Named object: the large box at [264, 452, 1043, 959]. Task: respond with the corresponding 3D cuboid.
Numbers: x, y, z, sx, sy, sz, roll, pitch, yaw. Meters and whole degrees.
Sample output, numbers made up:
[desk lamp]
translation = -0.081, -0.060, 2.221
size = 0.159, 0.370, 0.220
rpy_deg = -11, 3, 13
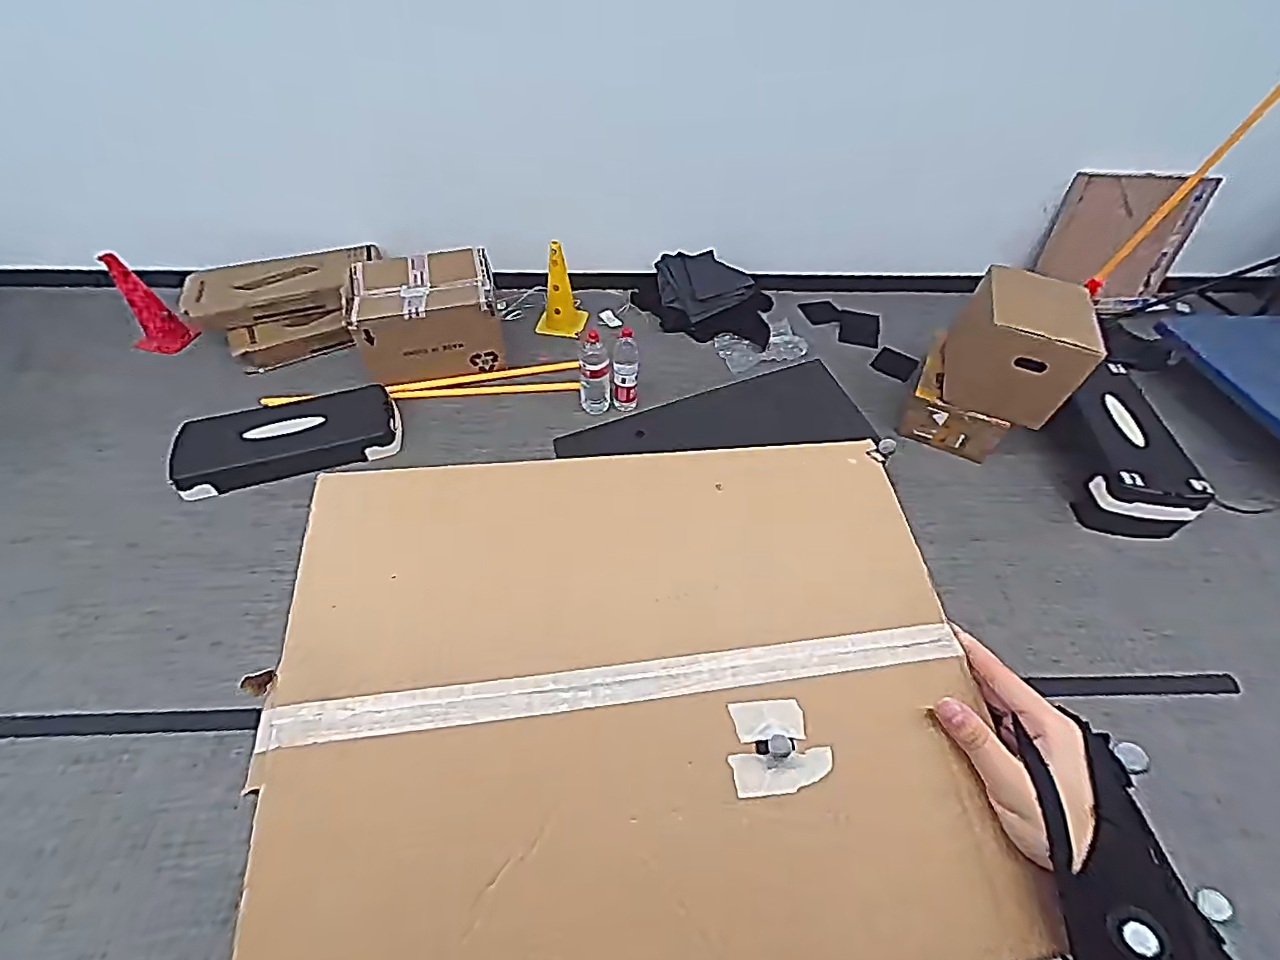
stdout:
[large box]
translation = -0.012, 0.198, 0.458
size = 0.408, 0.320, 0.320
rpy_deg = -4, 62, -10
